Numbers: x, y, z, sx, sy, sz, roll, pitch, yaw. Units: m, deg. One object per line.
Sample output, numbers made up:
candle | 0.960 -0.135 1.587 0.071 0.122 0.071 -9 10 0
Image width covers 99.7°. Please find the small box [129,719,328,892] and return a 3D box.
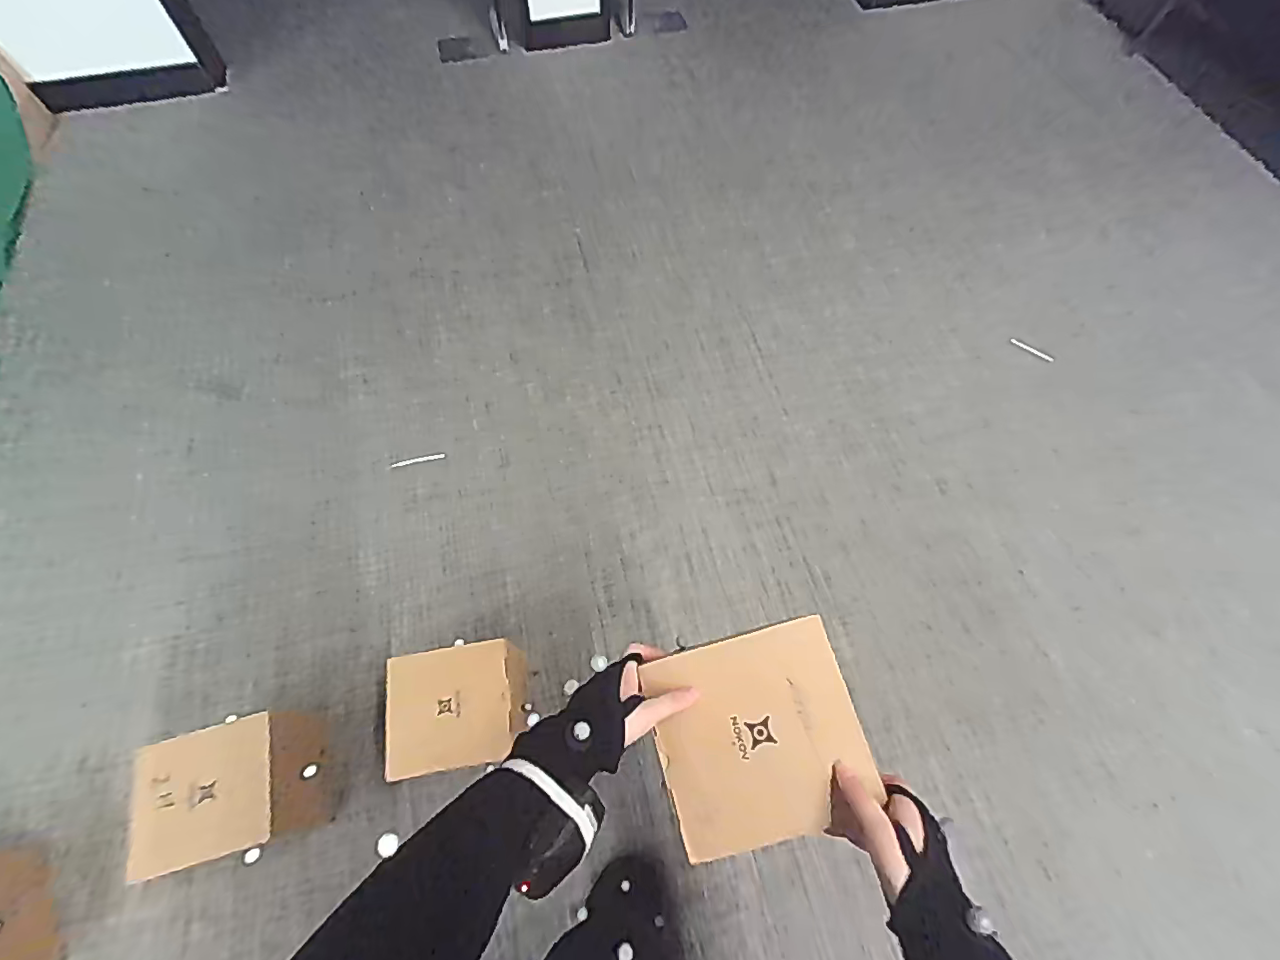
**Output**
small box | -0.581 0.462 0.794 0.179 0.176 0.168 -14 64 -8

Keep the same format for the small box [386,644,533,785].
small box | -0.274 0.367 0.846 0.179 0.176 0.168 -9 64 -6

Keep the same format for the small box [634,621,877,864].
small box | 0.107 0.251 0.553 0.179 0.176 0.168 -17 73 2
